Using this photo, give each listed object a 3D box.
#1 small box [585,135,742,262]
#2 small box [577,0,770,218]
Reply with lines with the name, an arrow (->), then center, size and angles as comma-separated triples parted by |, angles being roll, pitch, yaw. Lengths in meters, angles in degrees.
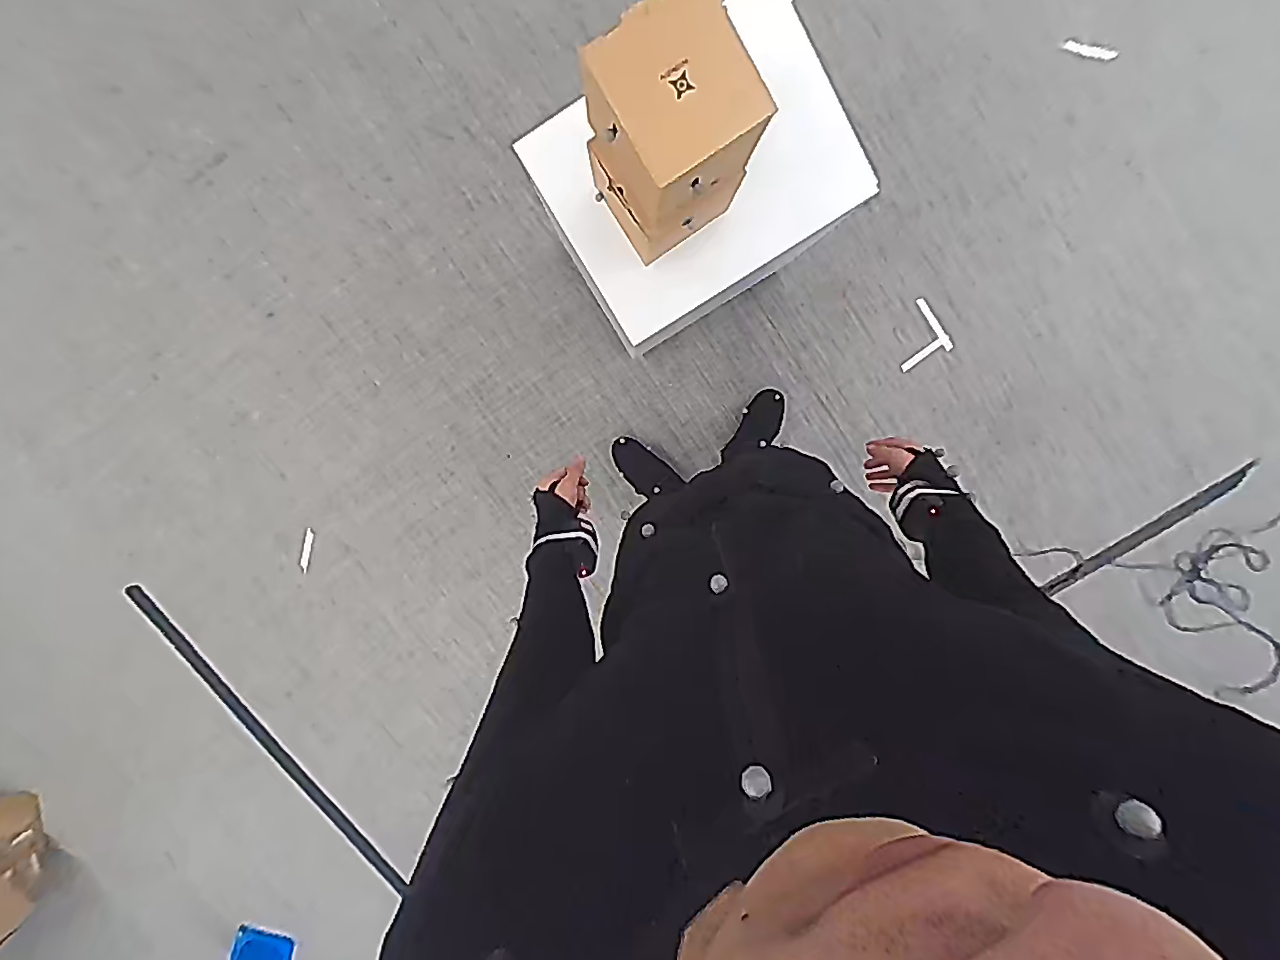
small box -> 0.034, -0.479, 0.863 | 0.179, 0.176, 0.168 | -34, 99, 3
small box -> 0.040, -0.469, 0.701 | 0.168, 0.176, 0.179 | -33, 98, 4
